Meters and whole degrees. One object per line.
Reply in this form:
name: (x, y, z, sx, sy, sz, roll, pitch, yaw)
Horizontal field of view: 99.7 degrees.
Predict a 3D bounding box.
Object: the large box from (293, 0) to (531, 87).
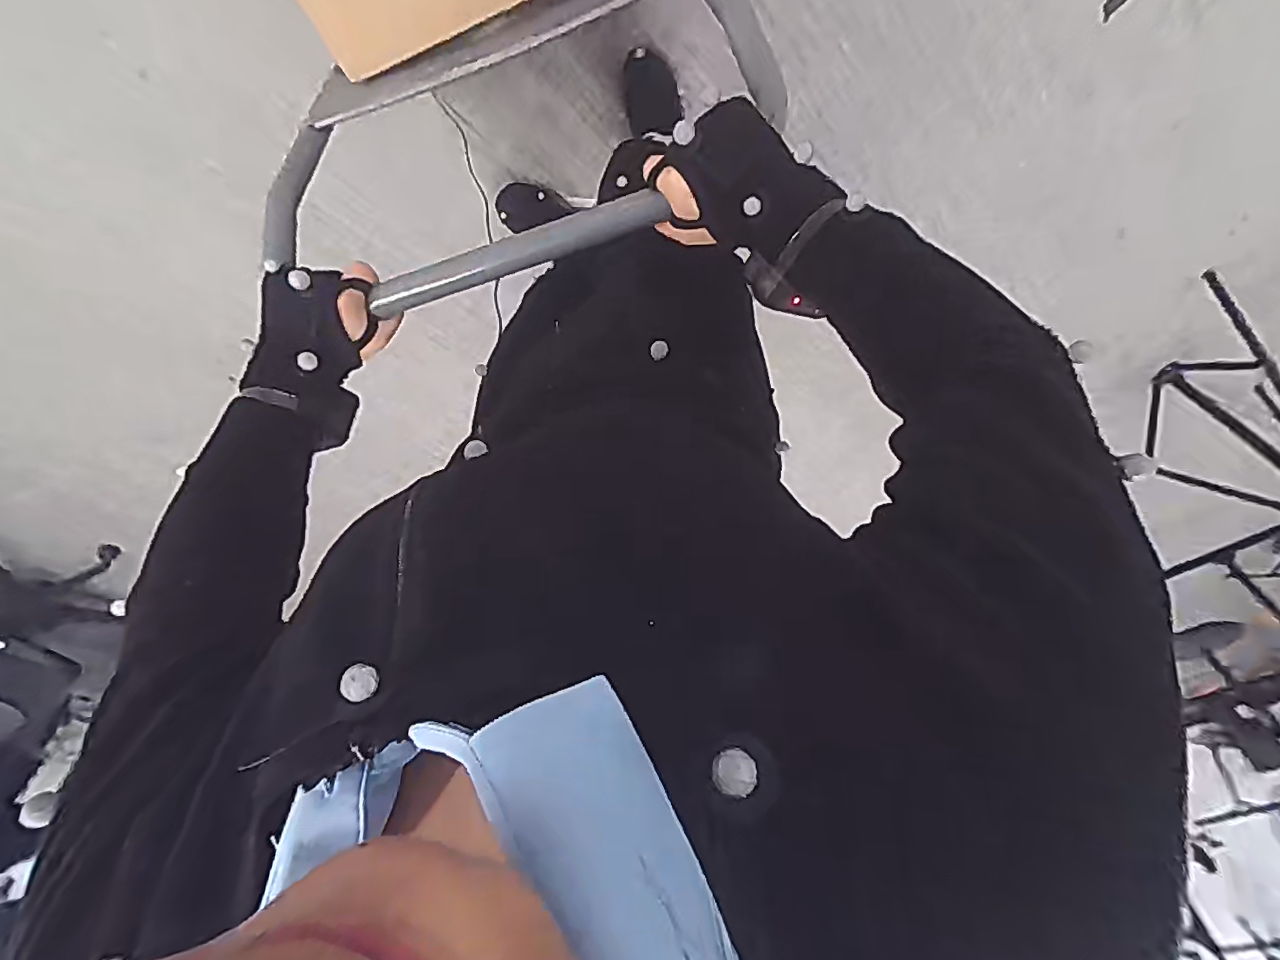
large box: (-0.231, -0.728, 0.594, 0.408, 0.320, 0.320, -17, 141, 10)
